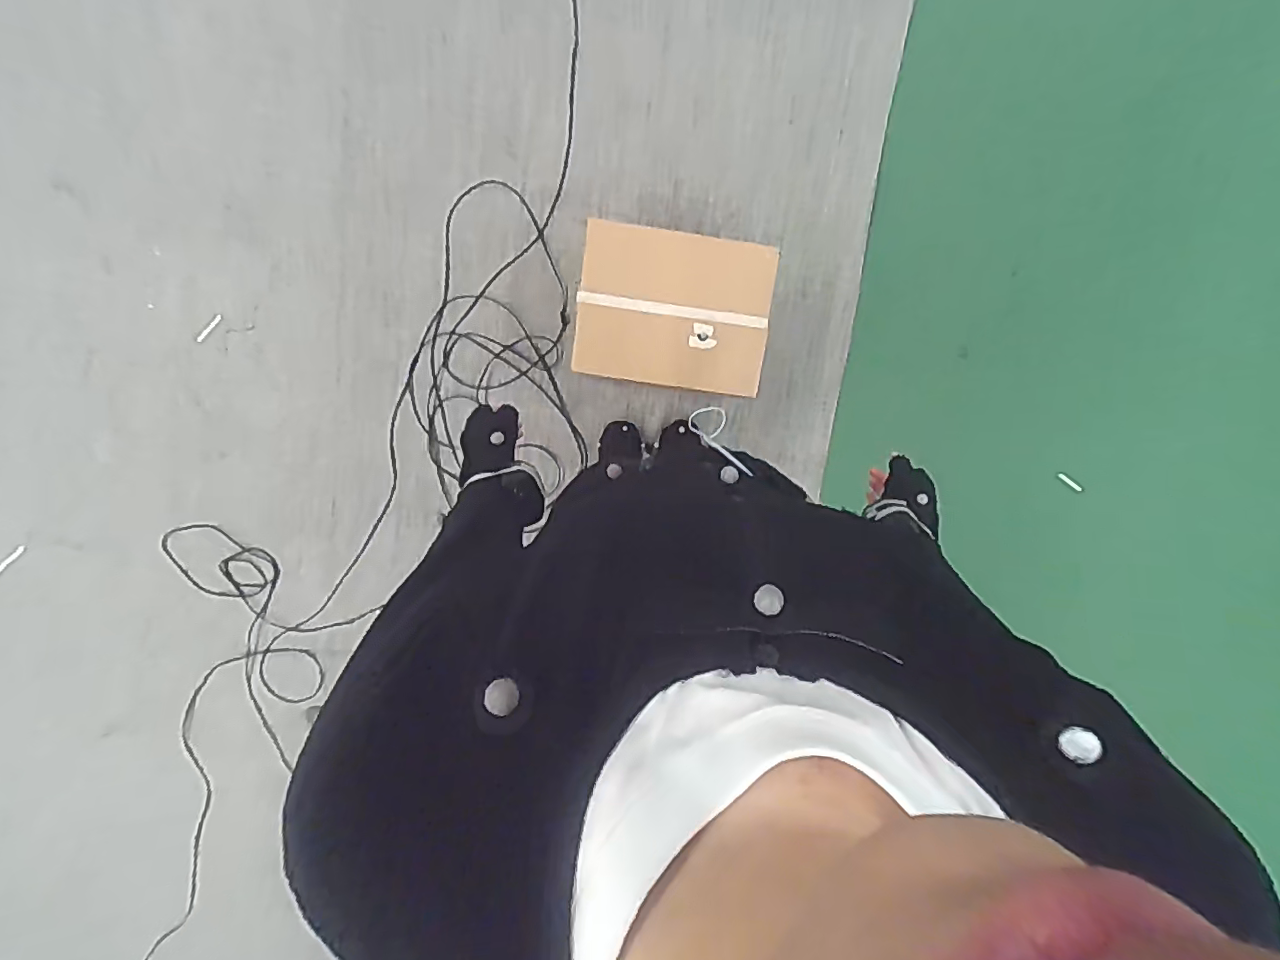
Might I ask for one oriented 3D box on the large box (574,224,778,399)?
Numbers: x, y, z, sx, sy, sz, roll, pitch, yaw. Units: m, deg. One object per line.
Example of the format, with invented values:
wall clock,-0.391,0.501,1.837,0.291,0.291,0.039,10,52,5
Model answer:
large box,0.065,-0.371,1.281,0.408,0.320,0.320,8,98,-4
